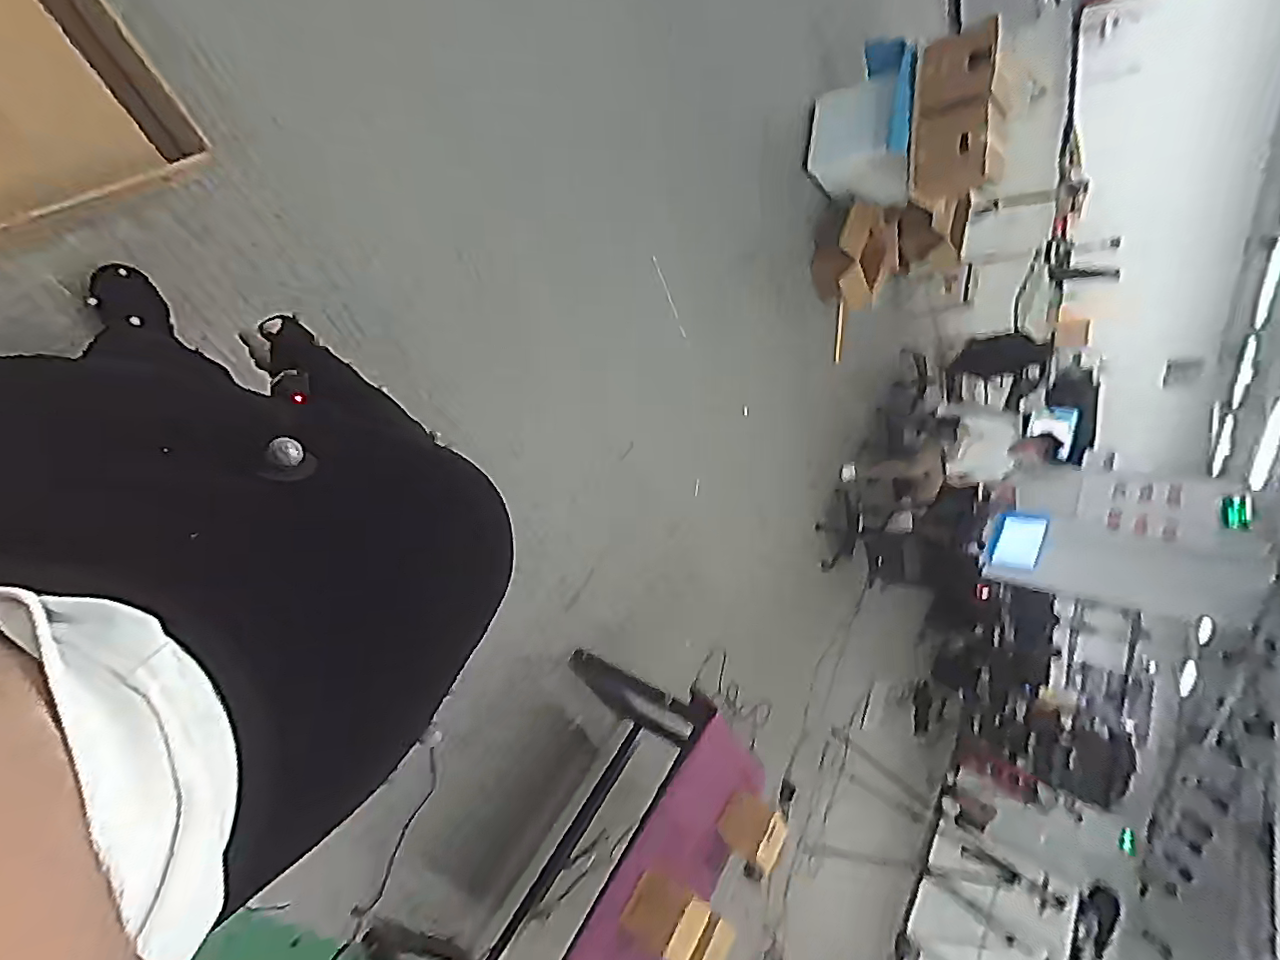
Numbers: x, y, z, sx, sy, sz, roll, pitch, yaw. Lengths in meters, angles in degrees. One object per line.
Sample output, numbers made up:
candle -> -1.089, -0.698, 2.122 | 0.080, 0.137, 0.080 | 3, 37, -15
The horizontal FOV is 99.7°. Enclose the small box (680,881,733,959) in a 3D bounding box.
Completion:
small box -> 0.174, 1.474, 1.781 | 0.168, 0.176, 0.179 | -50, 130, -29

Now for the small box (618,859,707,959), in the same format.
small box -> 0.067, 1.285, 1.623 | 0.168, 0.176, 0.179 | -51, 131, -28

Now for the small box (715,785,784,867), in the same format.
small box -> 0.397, 1.253, 1.974 | 0.168, 0.176, 0.179 | -48, 128, -29
